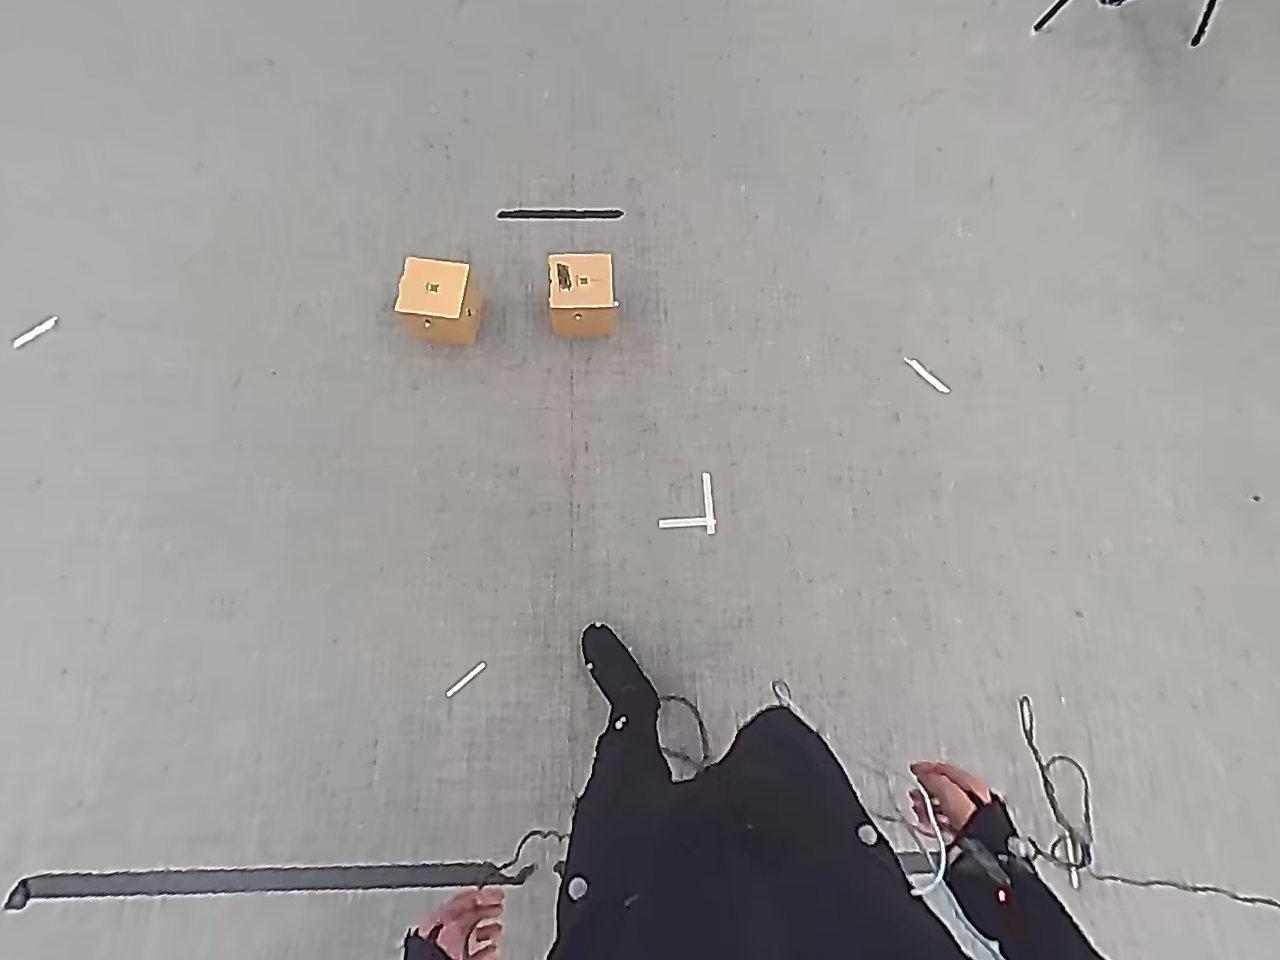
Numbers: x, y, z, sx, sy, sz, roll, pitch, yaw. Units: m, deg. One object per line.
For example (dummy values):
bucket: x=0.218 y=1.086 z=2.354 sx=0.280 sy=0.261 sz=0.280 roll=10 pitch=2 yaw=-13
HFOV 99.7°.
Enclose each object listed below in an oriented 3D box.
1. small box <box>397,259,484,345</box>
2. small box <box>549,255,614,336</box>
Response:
small box: x=-0.559 y=-0.499 z=1.539 sx=0.179 sy=0.176 sz=0.168 roll=6 pitch=78 yaw=0
small box: x=-0.164 y=-0.526 z=1.561 sx=0.179 sy=0.176 sz=0.168 roll=-2 pitch=78 yaw=-4
